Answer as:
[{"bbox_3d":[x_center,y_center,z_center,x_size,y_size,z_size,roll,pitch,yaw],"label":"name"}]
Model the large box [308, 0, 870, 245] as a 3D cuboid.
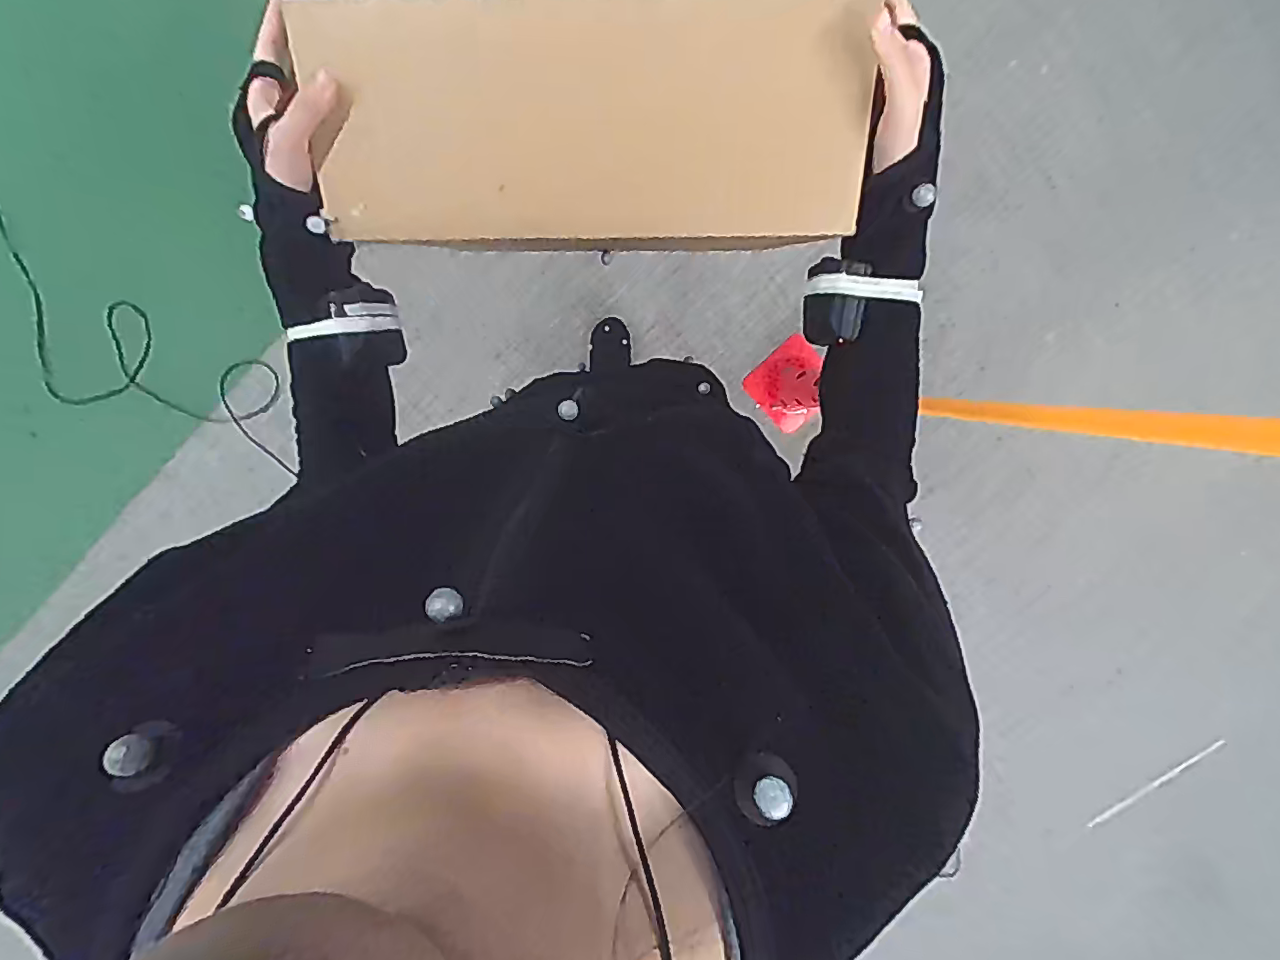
[{"bbox_3d":[-0.032,-0.394,0.515,0.408,0.320,0.320,1,112,1],"label":"large box"}]
